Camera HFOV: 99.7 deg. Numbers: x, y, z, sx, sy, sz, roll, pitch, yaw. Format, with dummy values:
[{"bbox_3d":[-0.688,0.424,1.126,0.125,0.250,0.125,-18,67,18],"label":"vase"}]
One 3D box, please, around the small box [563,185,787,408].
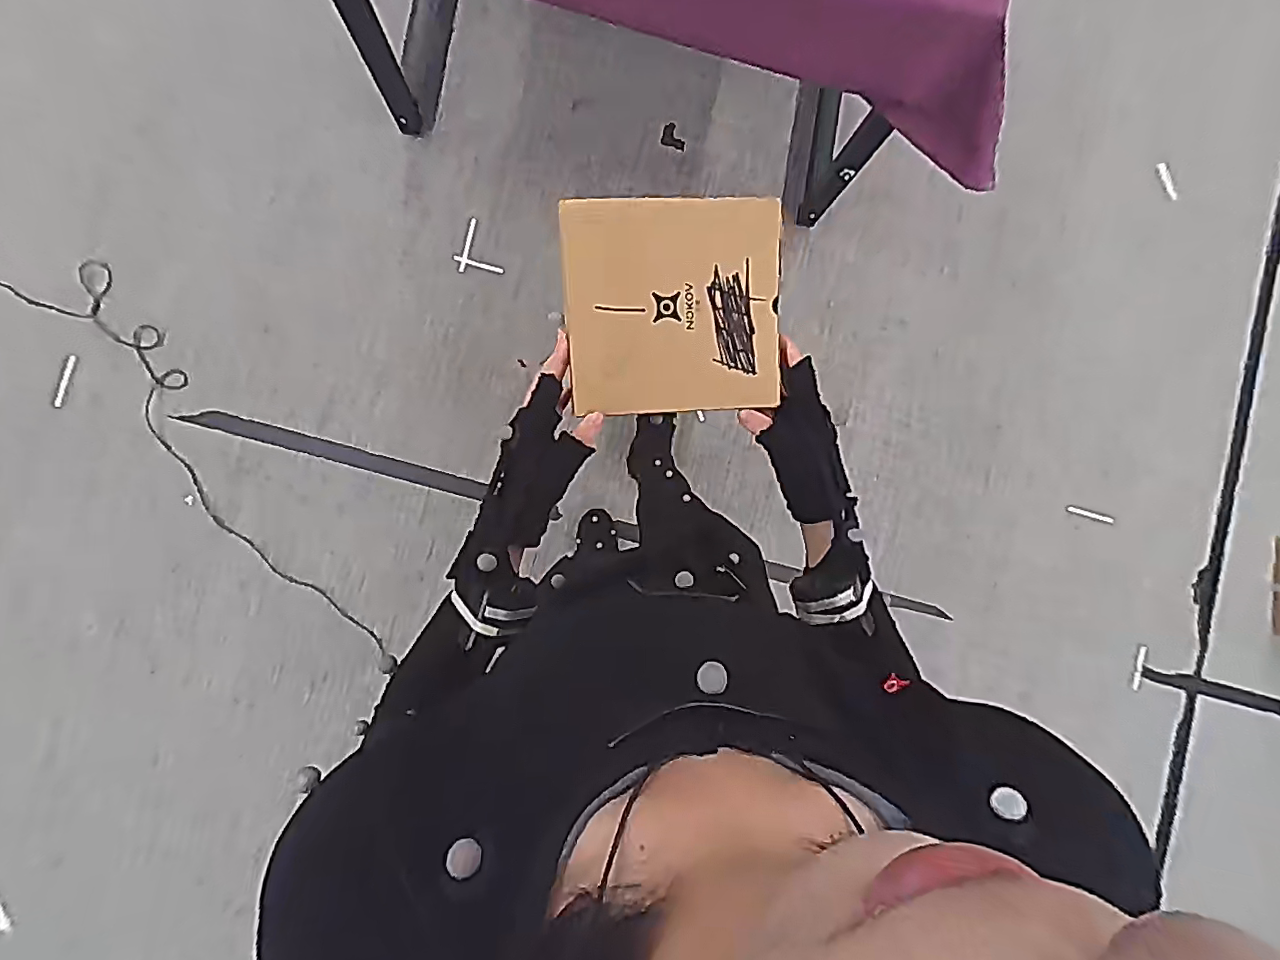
[{"bbox_3d":[0.020,-0.156,0.502,0.179,0.176,0.168,-4,100,-7],"label":"small box"}]
